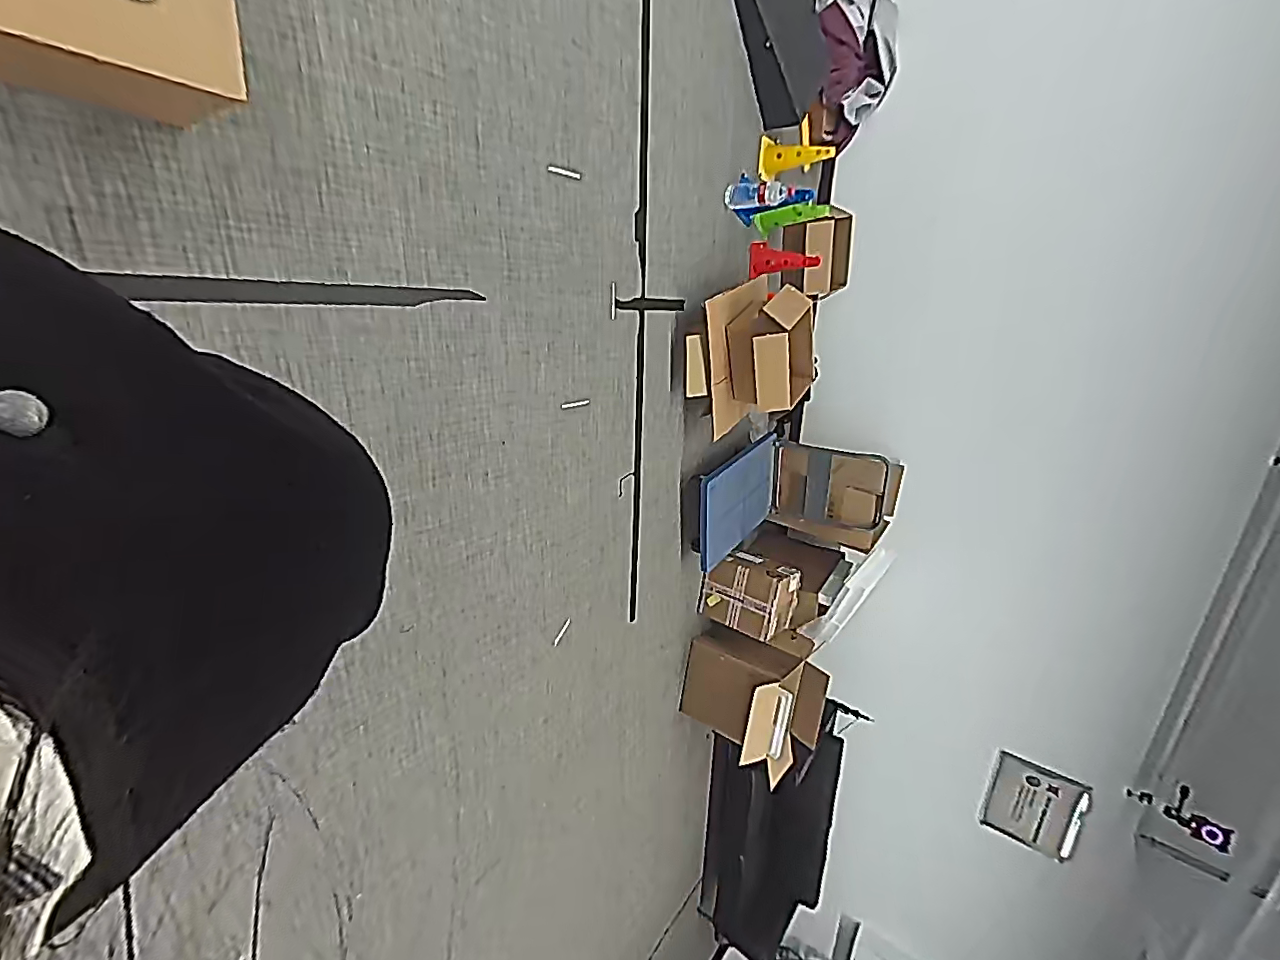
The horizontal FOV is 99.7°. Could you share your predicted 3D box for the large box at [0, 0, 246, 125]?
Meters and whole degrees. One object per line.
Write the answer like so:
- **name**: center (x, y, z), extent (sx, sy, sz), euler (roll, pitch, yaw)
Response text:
- **large box**: center (-0.888, -0.769, 0.787), extent (0.408, 0.320, 0.320), euler (-19, 118, -52)
